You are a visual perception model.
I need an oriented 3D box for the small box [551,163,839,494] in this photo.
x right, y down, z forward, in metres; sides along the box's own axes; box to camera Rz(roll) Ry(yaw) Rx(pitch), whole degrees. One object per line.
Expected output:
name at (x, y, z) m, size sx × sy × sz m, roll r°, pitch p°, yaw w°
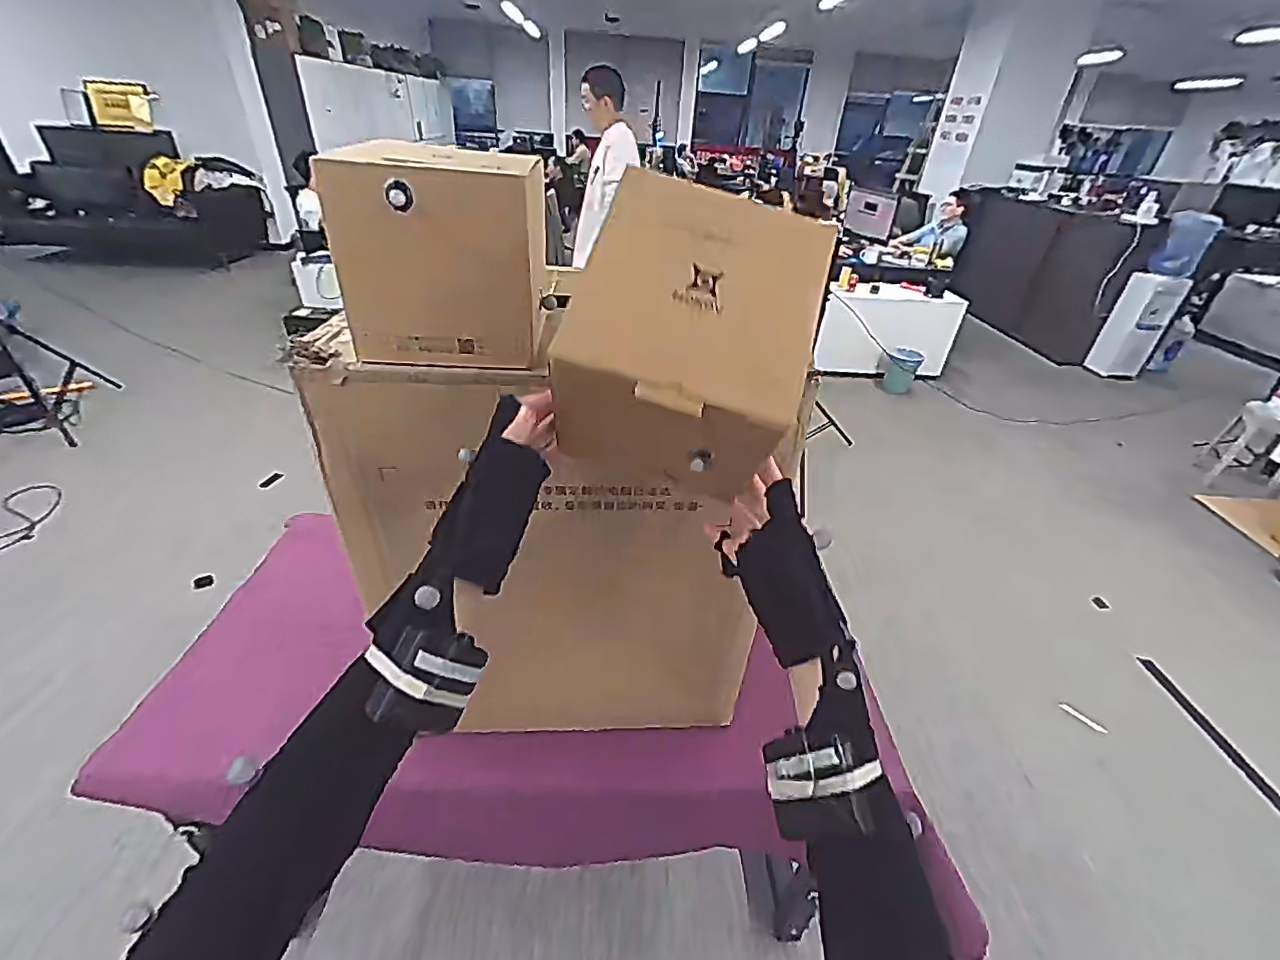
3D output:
small box at (0.037, -0.106, 0.443) m, size 0.168 × 0.176 × 0.179 m, roll 17°, pitch 70°, yaw -1°

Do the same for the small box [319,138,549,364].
small box at (-0.179, -0.228, 0.533) m, size 0.168 × 0.176 × 0.179 m, roll 1°, pitch 34°, yaw -6°
